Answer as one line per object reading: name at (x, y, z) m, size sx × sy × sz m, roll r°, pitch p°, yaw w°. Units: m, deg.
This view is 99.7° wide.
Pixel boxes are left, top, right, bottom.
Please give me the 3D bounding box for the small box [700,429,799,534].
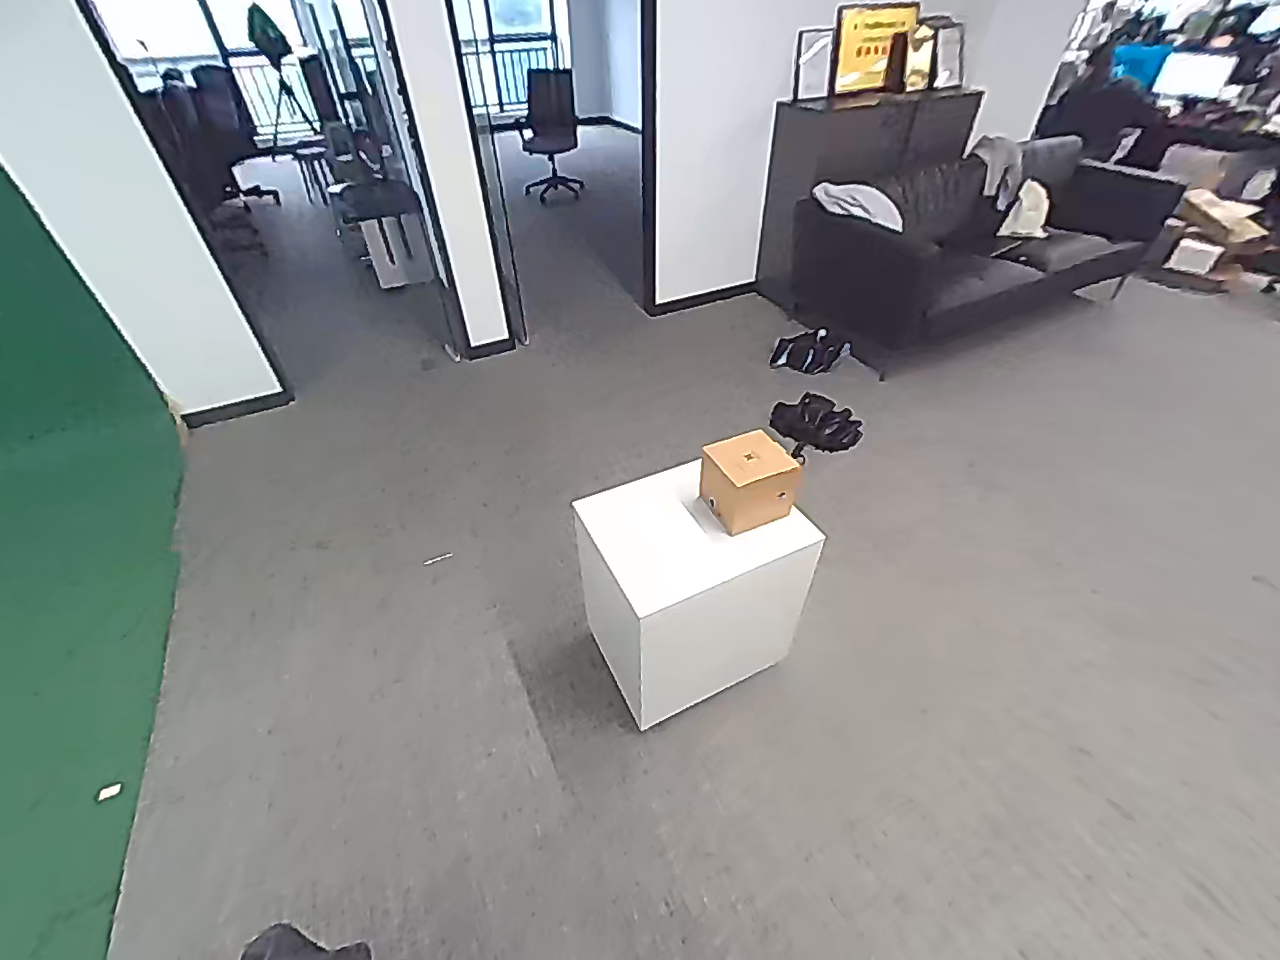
small box at (0.260, 0.004, 1.334) m, size 0.179 × 0.176 × 0.168 m, roll -19°, pitch 44°, yaw -17°
